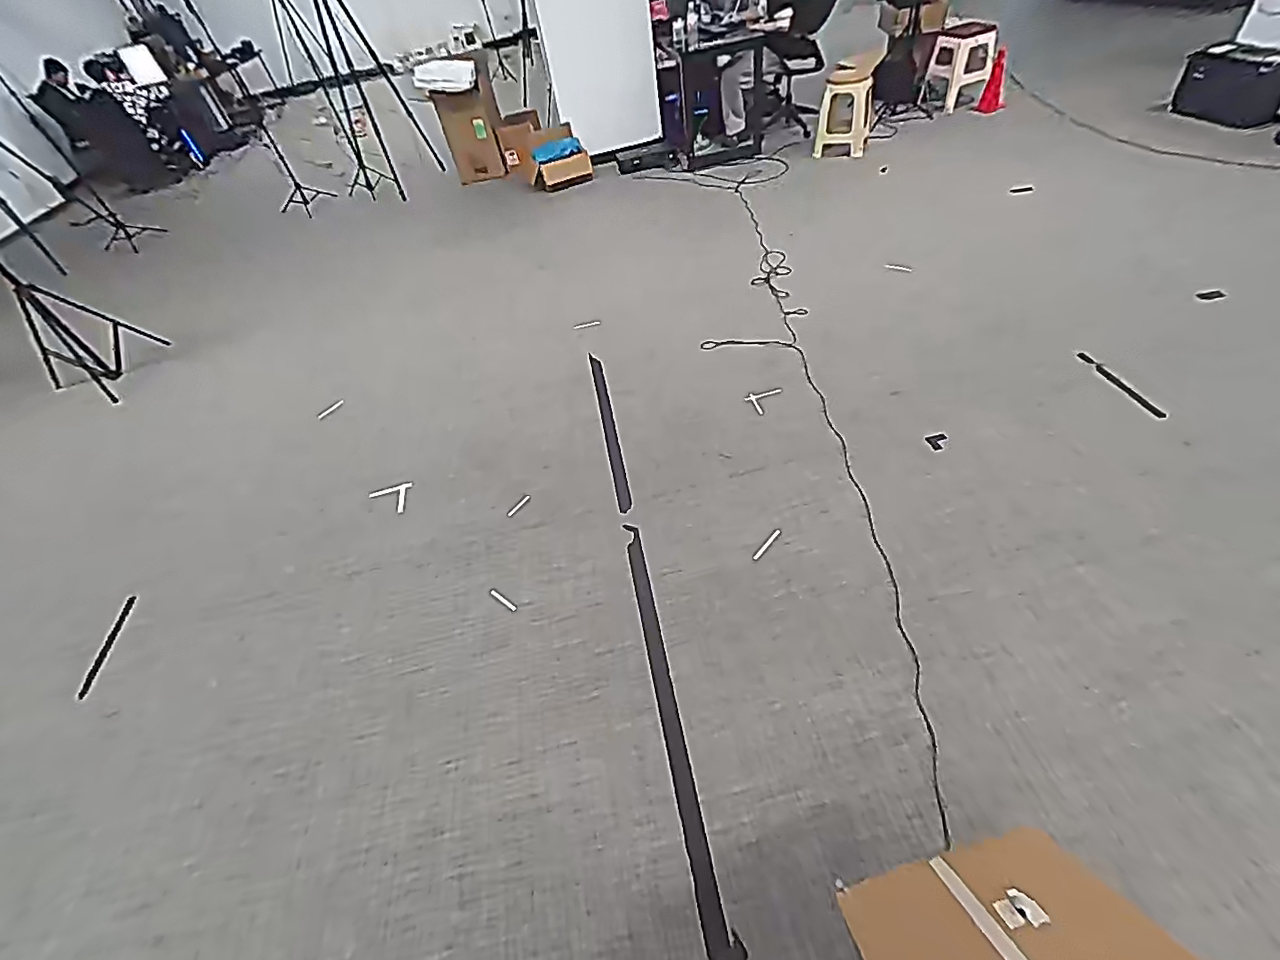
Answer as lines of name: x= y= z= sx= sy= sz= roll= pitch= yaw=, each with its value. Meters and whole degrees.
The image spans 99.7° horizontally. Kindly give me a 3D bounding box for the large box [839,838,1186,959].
large box: x=0.480 y=0.697 z=0.589 sx=0.320 sy=0.408 sz=0.320 roll=-19 pitch=82 yaw=1
